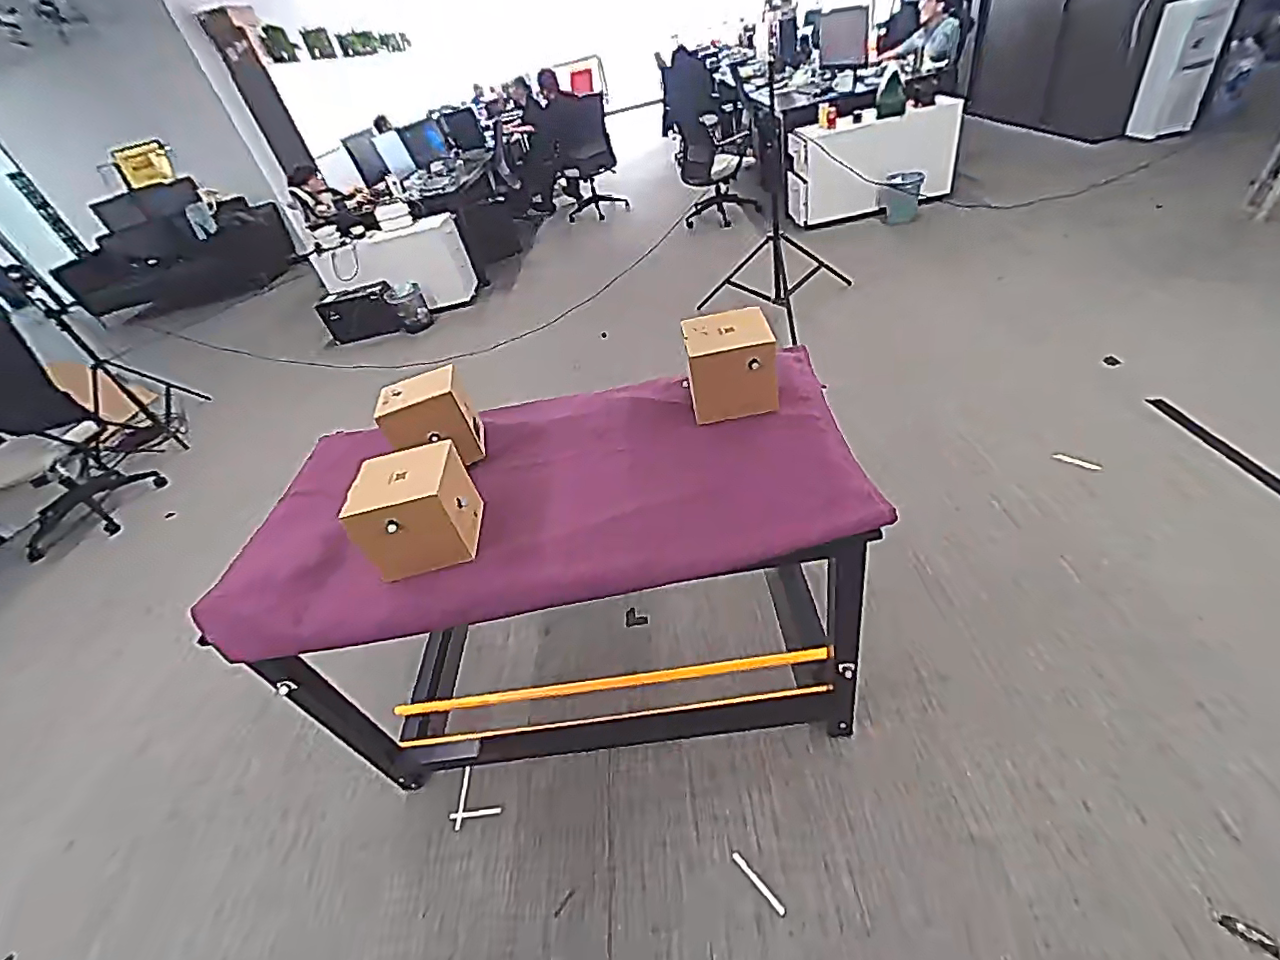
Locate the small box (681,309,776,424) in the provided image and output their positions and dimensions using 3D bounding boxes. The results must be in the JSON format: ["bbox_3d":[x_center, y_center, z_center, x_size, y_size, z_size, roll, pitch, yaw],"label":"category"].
[{"bbox_3d":[0.190,-0.242,1.162,0.179,0.176,0.168,-10,40,6],"label":"small box"}]

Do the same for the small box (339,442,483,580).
[{"bbox_3d":[-0.409,0.059,1.003,0.179,0.176,0.168,-14,38,2],"label":"small box"}]
